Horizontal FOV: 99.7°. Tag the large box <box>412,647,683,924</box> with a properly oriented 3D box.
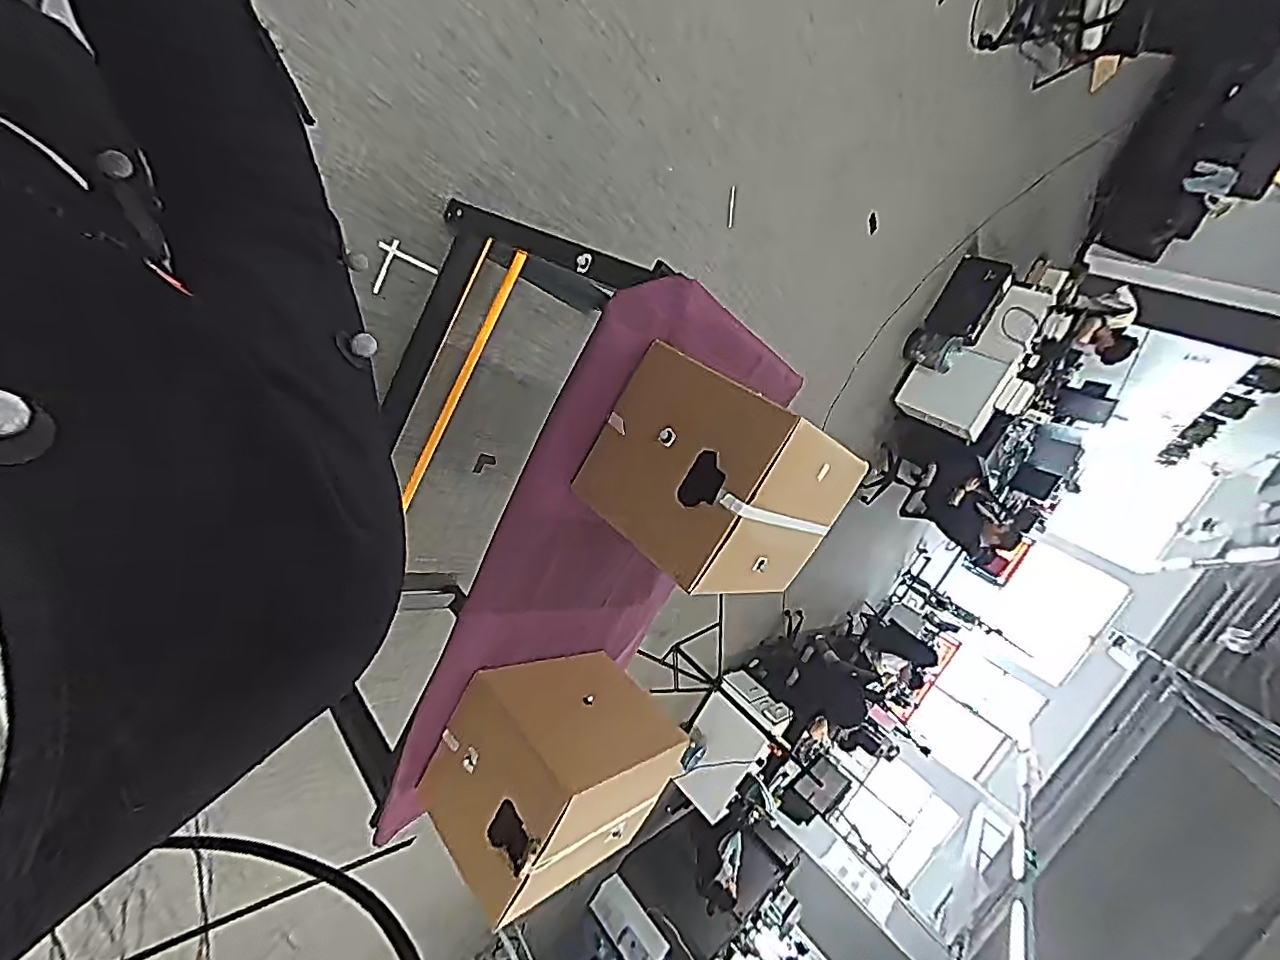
[{"bbox_3d":[-0.187,0.592,1.146,0.408,0.320,0.320,14,108,-55],"label":"large box"}]
